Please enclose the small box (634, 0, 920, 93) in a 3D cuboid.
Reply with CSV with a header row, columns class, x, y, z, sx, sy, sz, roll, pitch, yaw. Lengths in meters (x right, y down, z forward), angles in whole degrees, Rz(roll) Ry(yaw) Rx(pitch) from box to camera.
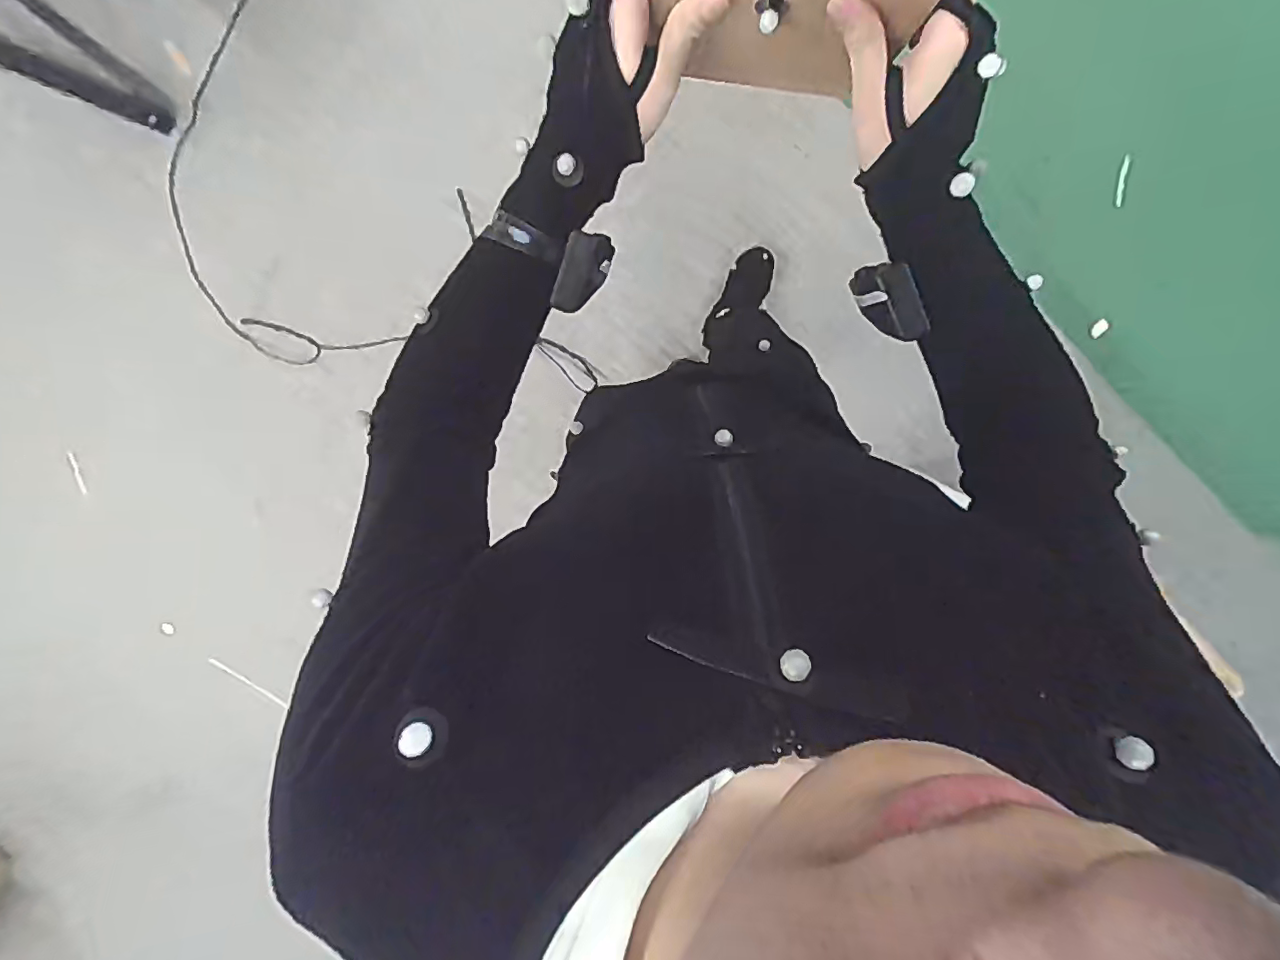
class,x,y,z,sx,sy,sz,roll,pitch,yaw
small box,0.091,-0.370,0.328,0.179,0.176,0.168,6,100,1
